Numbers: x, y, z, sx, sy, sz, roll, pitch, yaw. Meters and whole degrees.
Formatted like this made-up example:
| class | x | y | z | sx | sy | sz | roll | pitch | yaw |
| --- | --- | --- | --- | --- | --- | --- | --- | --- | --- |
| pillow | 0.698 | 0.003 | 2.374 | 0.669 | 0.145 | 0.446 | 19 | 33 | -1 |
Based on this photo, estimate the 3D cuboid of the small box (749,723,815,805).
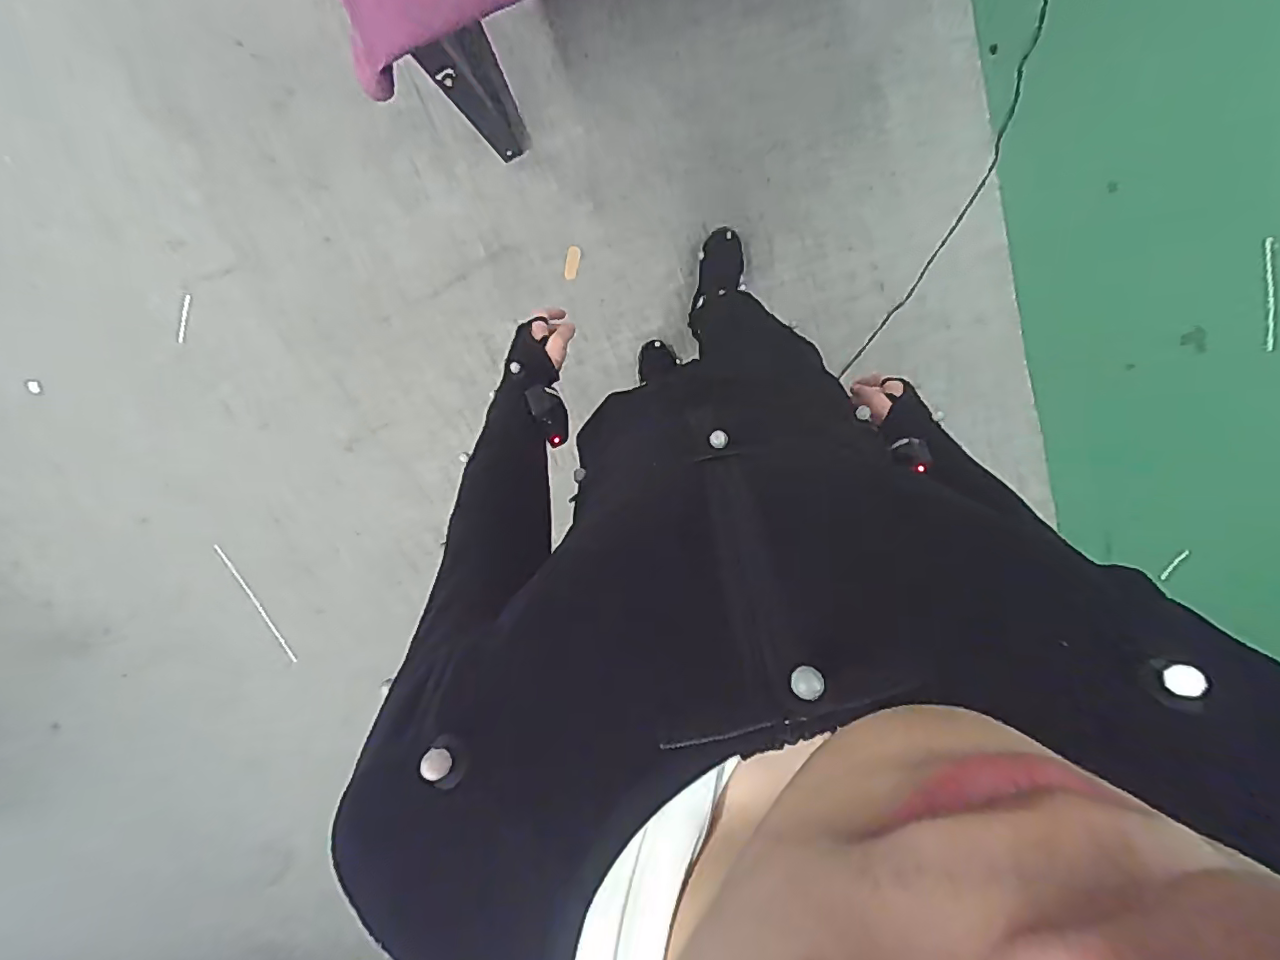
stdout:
| class | x | y | z | sx | sy | sz | roll | pitch | yaw |
| --- | --- | --- | --- | --- | --- | --- | --- | --- | --- |
| small box | 0.479 | 0.968 | 1.854 | 0.179 | 0.176 | 0.168 | -14 | 106 | 4 |
